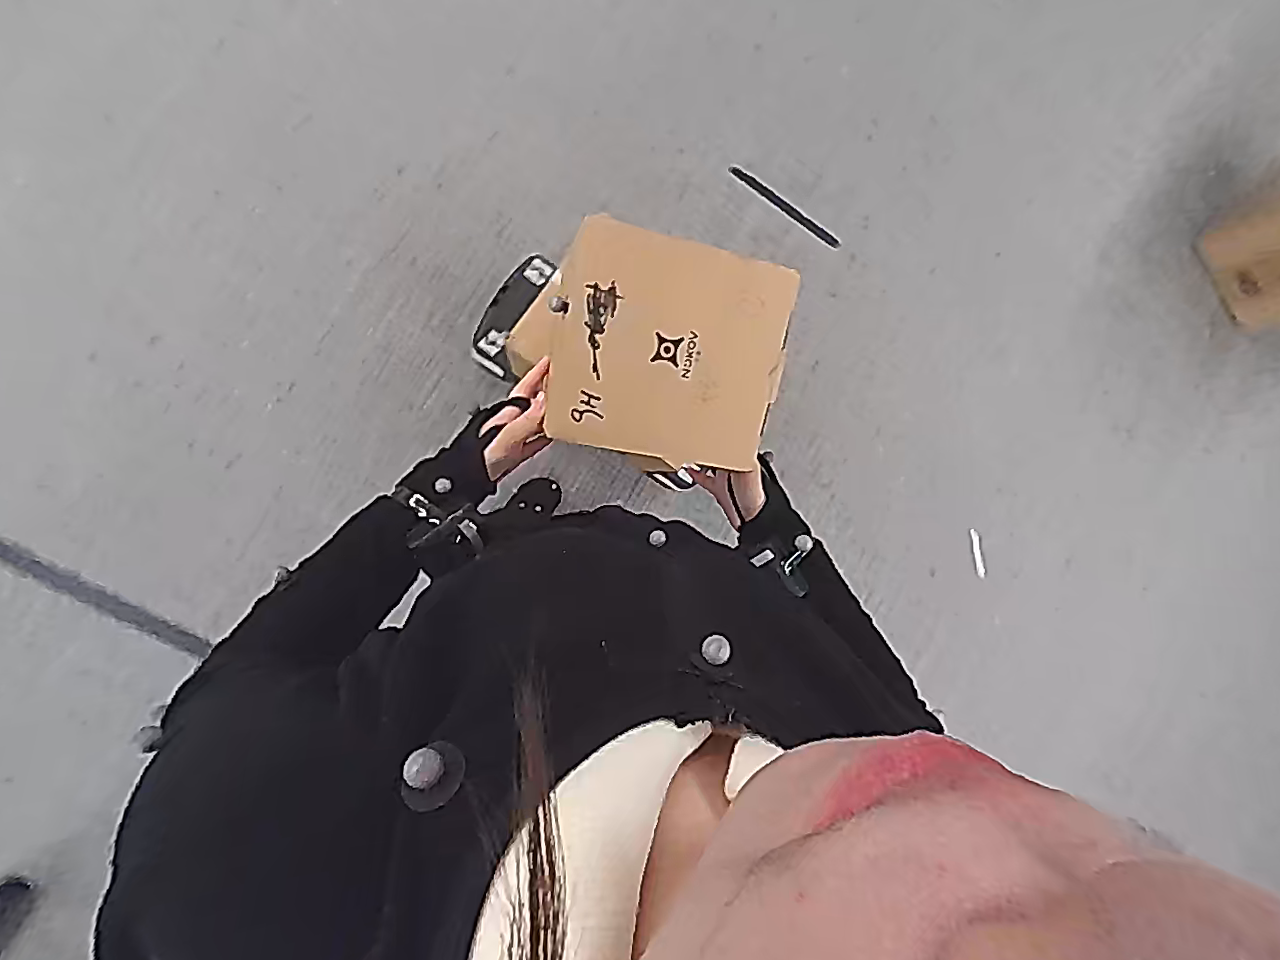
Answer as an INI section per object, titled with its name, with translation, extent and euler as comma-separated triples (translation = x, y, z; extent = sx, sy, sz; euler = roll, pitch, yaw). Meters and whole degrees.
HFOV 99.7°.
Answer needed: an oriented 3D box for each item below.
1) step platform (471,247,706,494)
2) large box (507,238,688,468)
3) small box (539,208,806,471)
[step platform]
translation = -0.089, -0.263, 1.390
extent = 0.684, 0.204, 0.286
euler = 38, 84, -9
[large box]
translation = -0.020, -0.257, 1.160
extent = 0.408, 0.320, 0.320
euler = 36, 84, -9
[small box]
translation = 0.013, -0.114, 0.483
extent = 0.179, 0.176, 0.168
euler = 8, 99, -16
